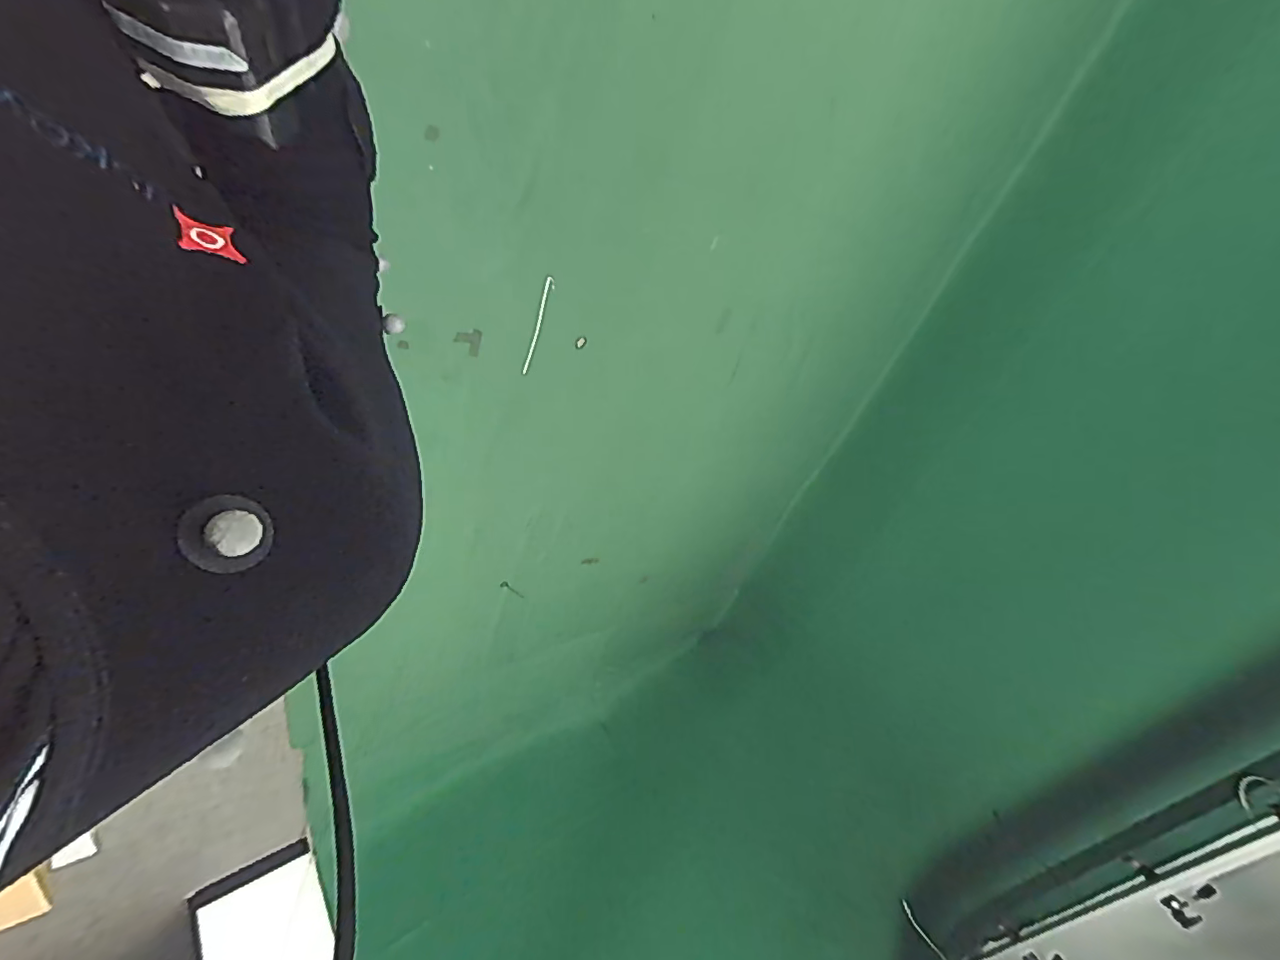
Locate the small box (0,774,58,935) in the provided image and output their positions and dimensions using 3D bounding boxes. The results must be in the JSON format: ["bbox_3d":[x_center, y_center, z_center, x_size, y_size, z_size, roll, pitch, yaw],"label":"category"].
[{"bbox_3d":[-0.994,0.570,0.798,0.168,0.176,0.179,-6,134,-41],"label":"small box"}]
